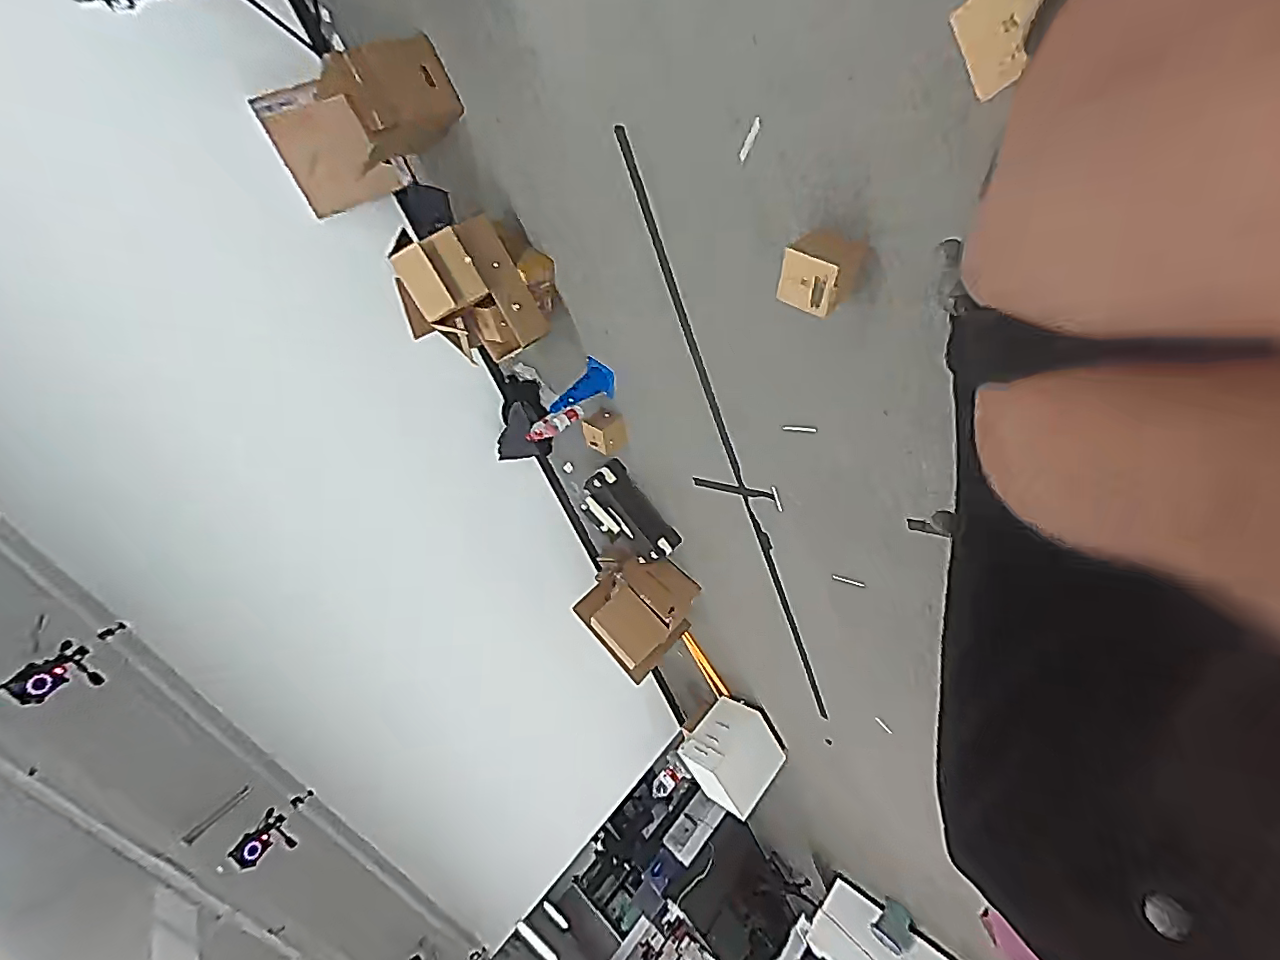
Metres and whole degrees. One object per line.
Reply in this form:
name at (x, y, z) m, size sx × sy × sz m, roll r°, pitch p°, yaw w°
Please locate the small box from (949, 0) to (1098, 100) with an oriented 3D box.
small box at (0.732, -0.878, 1.030) m, size 0.168 × 0.176 × 0.179 m, roll -8°, pitch 117°, yaw 58°
